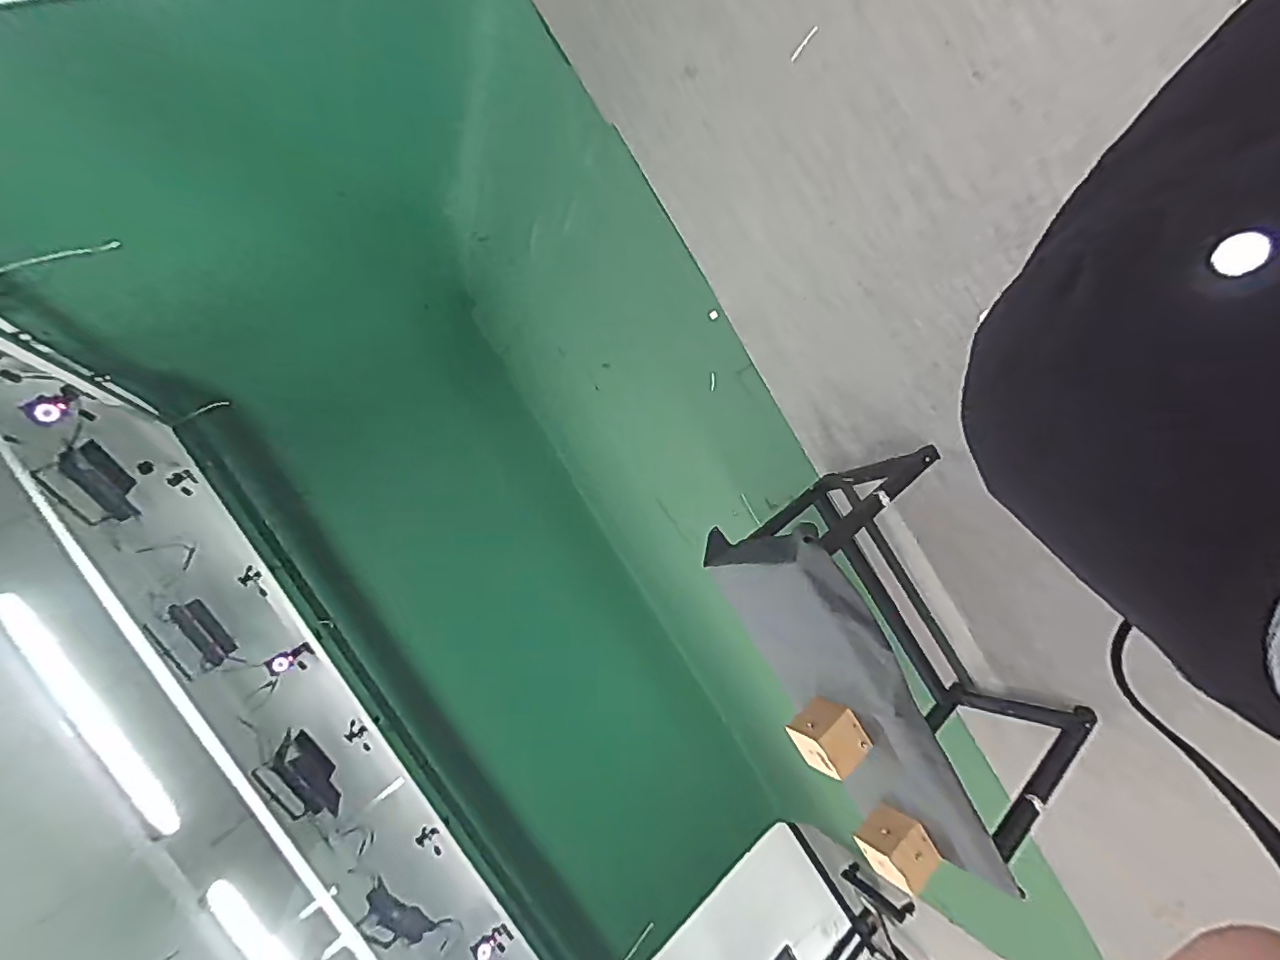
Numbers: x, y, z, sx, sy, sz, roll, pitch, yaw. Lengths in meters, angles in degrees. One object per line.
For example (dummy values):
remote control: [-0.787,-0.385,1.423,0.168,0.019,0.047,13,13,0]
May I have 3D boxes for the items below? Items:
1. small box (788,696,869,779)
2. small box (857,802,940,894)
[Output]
small box: [0.654,0.871,1.852,0.168,0.176,0.179,58,158,-5]
small box: [0.906,1.271,1.884,0.168,0.176,0.179,59,157,-2]
